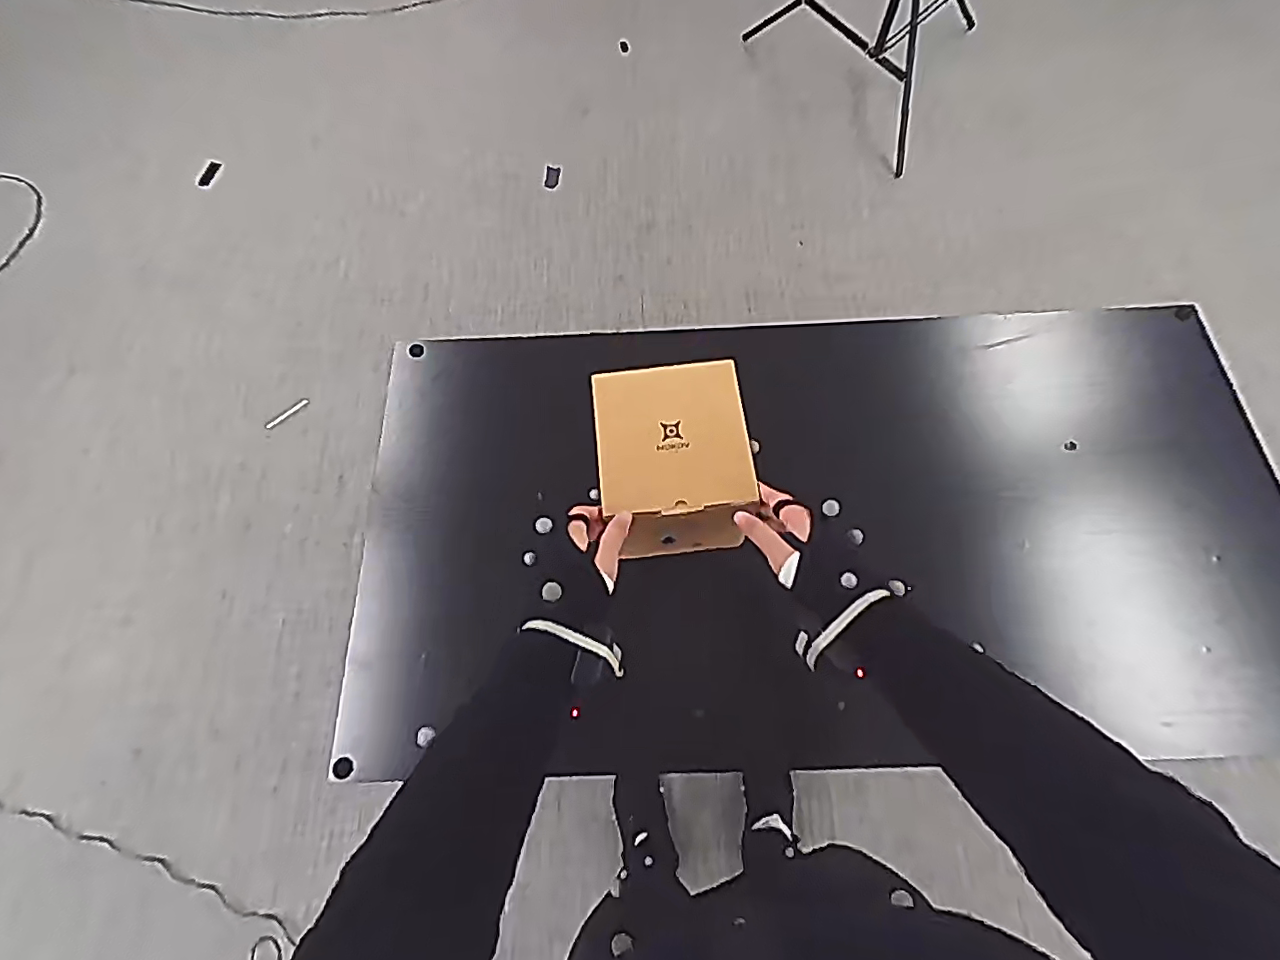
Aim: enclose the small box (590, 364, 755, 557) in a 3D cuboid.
[{"bbox_3d":[0.032,-0.017,0.662,0.168,0.176,0.179,-7,68,0],"label":"small box"}]
